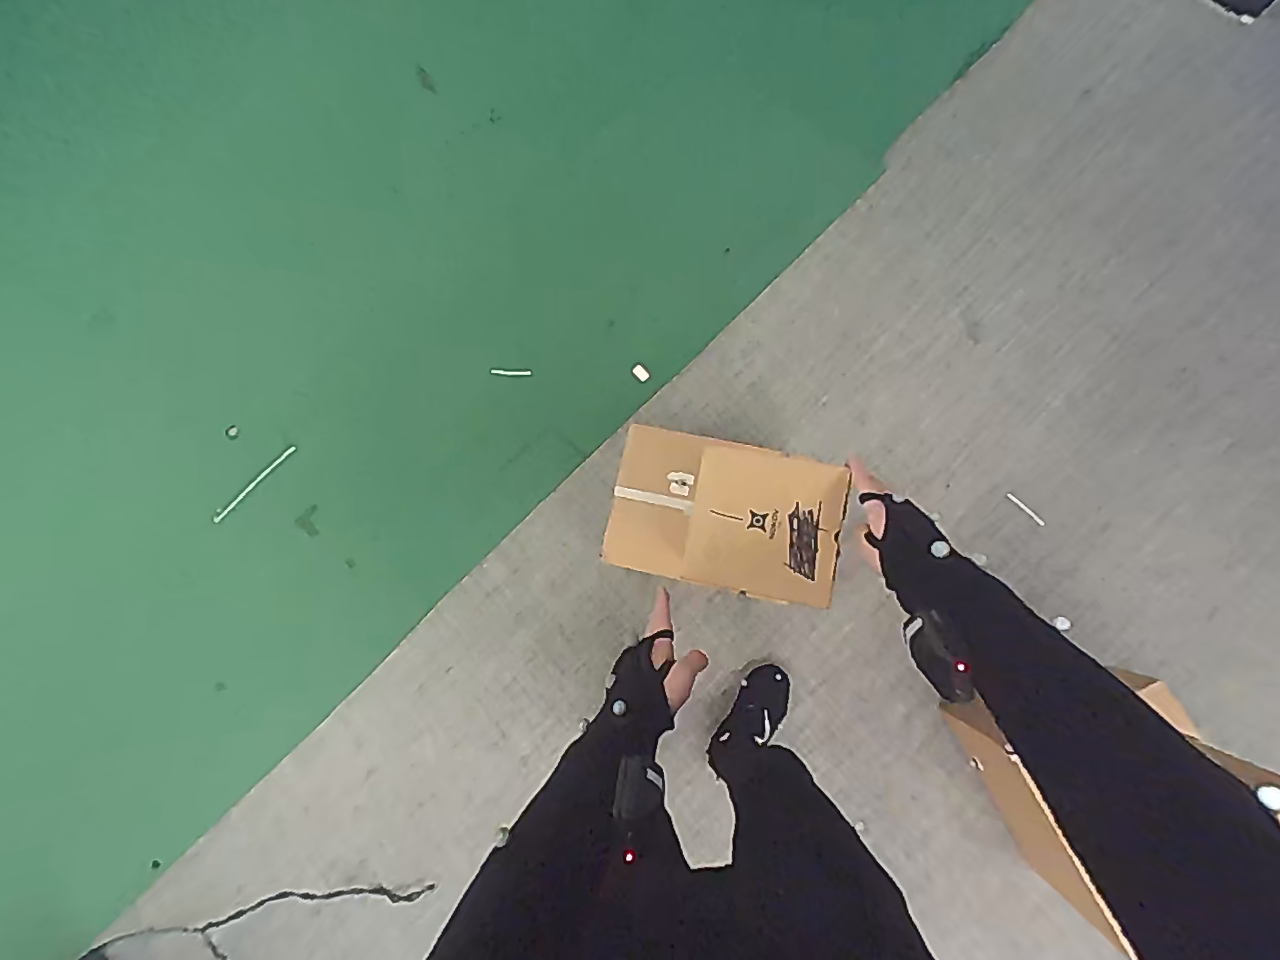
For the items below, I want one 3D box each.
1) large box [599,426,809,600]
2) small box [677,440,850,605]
[{"bbox_3d":[0.153,0.085,1.286,0.408,0.320,0.320,11,82,9],"label":"large box"},{"bbox_3d":[0.154,0.058,0.708,0.179,0.176,0.168,11,83,10],"label":"small box"}]
